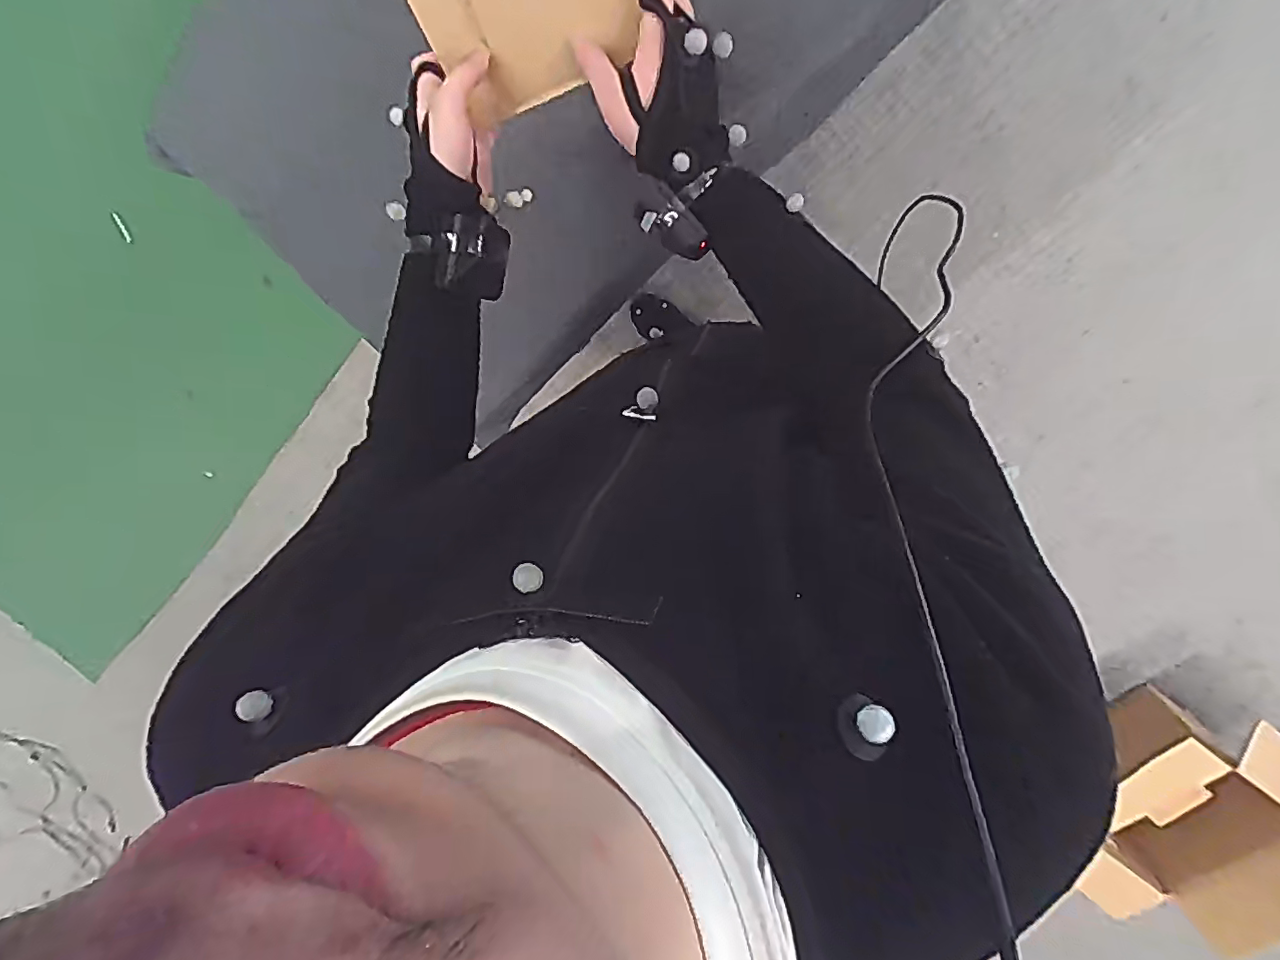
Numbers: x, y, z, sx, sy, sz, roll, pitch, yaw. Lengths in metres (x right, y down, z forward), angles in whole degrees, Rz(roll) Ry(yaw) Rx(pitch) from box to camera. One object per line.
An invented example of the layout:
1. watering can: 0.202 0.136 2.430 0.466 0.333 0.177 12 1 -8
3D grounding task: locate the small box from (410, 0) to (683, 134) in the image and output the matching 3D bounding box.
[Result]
1. small box: -0.072 -0.414 0.429 0.179 0.176 0.168 -6 132 23
